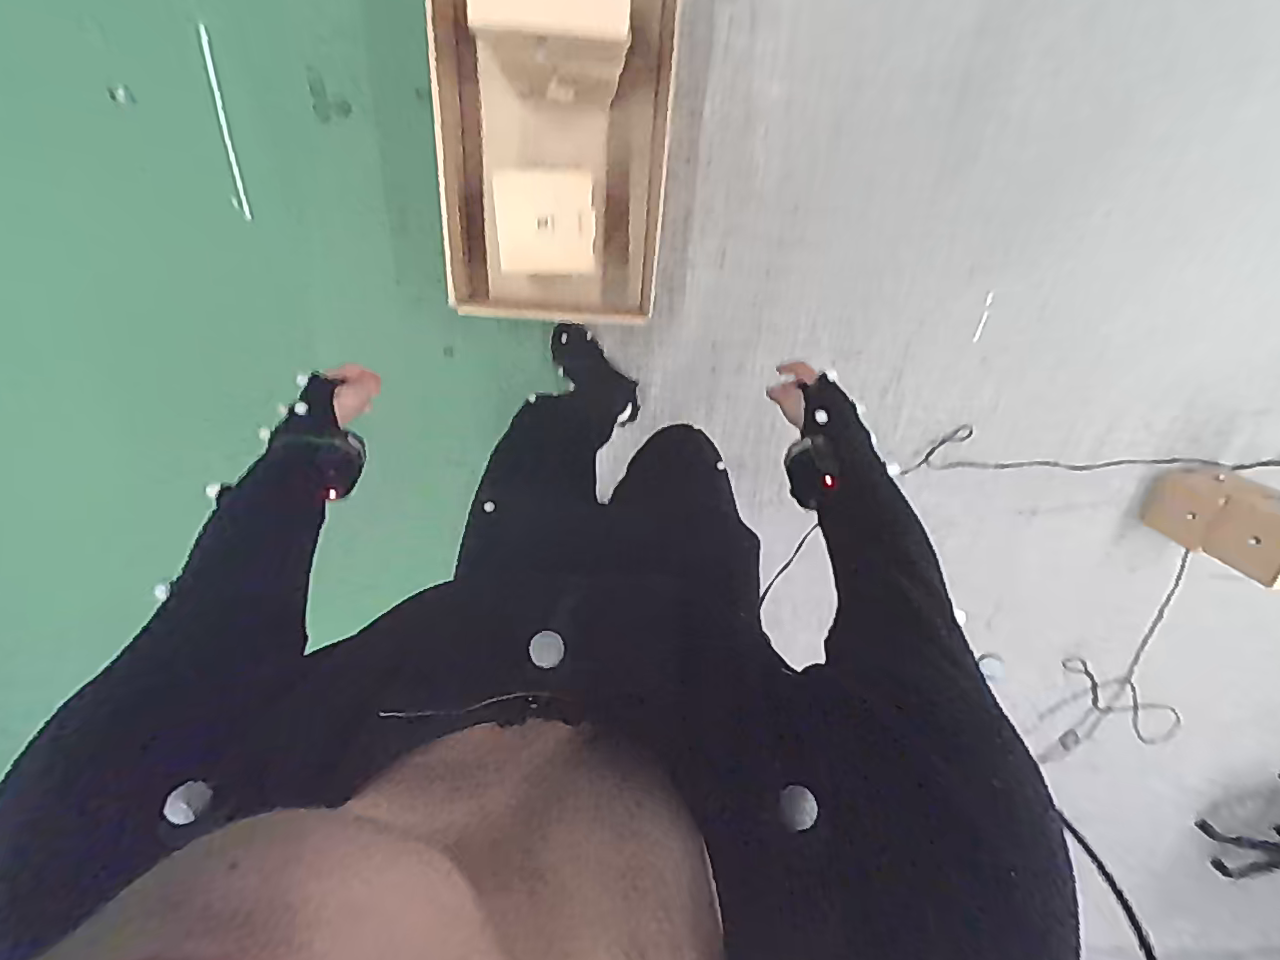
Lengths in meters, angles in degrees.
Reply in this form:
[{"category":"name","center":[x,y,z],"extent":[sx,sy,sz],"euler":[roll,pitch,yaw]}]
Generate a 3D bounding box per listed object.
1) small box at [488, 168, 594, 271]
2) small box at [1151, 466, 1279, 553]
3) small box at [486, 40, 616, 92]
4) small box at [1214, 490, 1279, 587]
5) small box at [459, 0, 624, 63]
[{"category":"small box","center":[-0.179,-0.489,1.030],"extent":[0.179,0.176,0.168],"euler":[-2,114,-4]},{"category":"small box","center":[1.553,0.072,1.465],"extent":[0.168,0.176,0.179],"euler":[-7,116,0]},{"category":"small box","center":[-0.117,-0.672,0.767],"extent":[0.179,0.176,0.168],"euler":[3,116,-7]},{"category":"small box","center":[1.579,0.138,1.317],"extent":[0.168,0.176,0.179],"euler":[-4,115,-2]},{"category":"small box","center":[-0.104,-0.601,0.619],"extent":[0.179,0.176,0.168],"euler":[1,116,-4]}]
